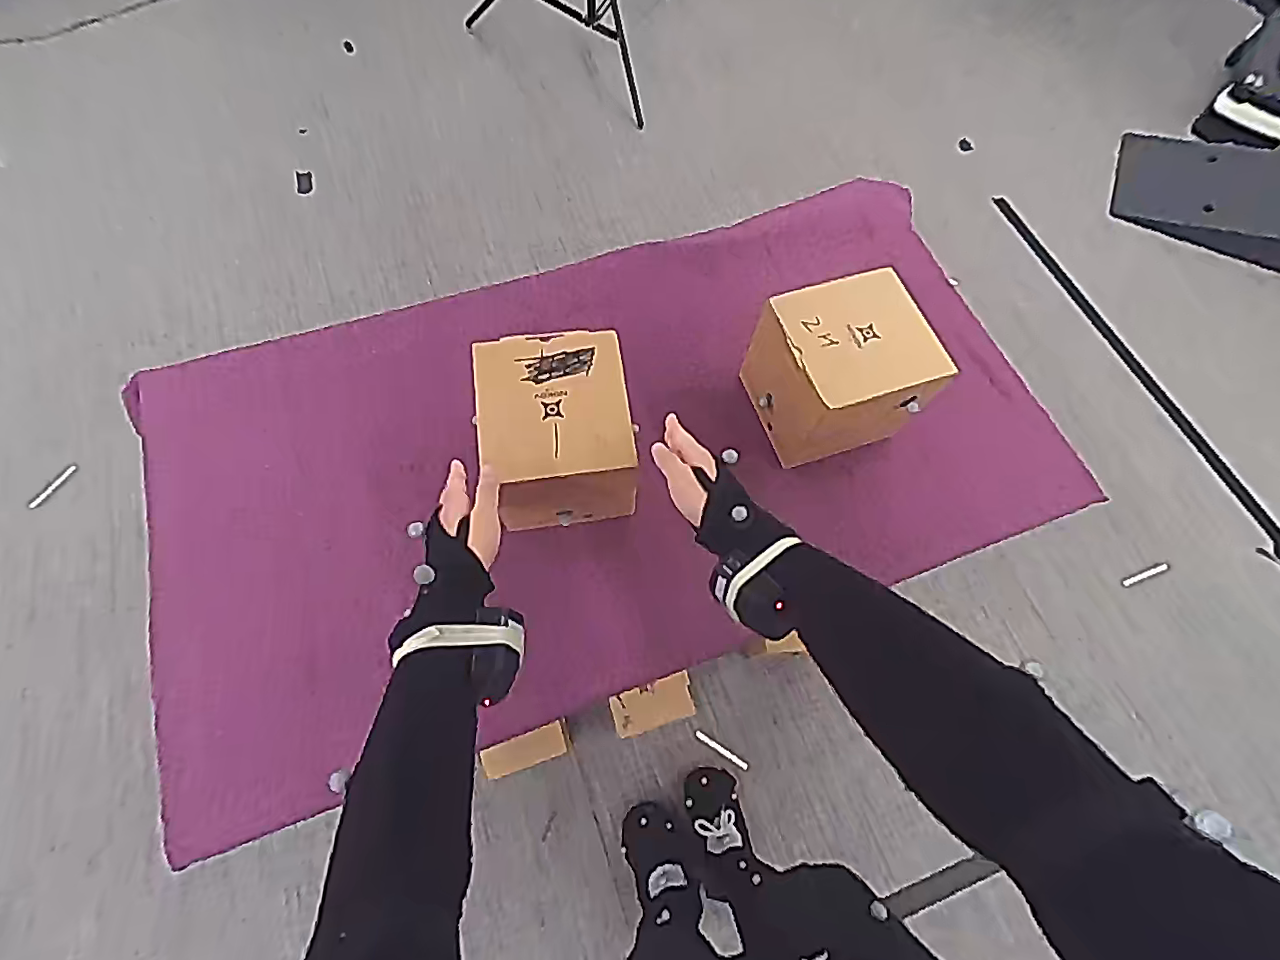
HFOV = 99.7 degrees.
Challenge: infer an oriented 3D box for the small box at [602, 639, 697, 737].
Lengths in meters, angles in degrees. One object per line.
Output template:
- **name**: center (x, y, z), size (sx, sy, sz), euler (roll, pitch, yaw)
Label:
- **small box**: center (0.014, 0.474, 1.243), size (0.179, 0.176, 0.168), euler (-14, 70, -8)

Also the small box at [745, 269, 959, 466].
- **small box**: center (0.260, -0.139, 0.710), size (0.179, 0.176, 0.168), euler (-17, 69, -8)

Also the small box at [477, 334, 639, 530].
- **small box**: center (-0.097, -0.052, 0.661), size (0.168, 0.176, 0.179), euler (-7, 70, -5)

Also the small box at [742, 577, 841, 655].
- **small box**: center (0.360, 0.334, 1.314), size (0.179, 0.176, 0.168), euler (-3, 69, -3)
